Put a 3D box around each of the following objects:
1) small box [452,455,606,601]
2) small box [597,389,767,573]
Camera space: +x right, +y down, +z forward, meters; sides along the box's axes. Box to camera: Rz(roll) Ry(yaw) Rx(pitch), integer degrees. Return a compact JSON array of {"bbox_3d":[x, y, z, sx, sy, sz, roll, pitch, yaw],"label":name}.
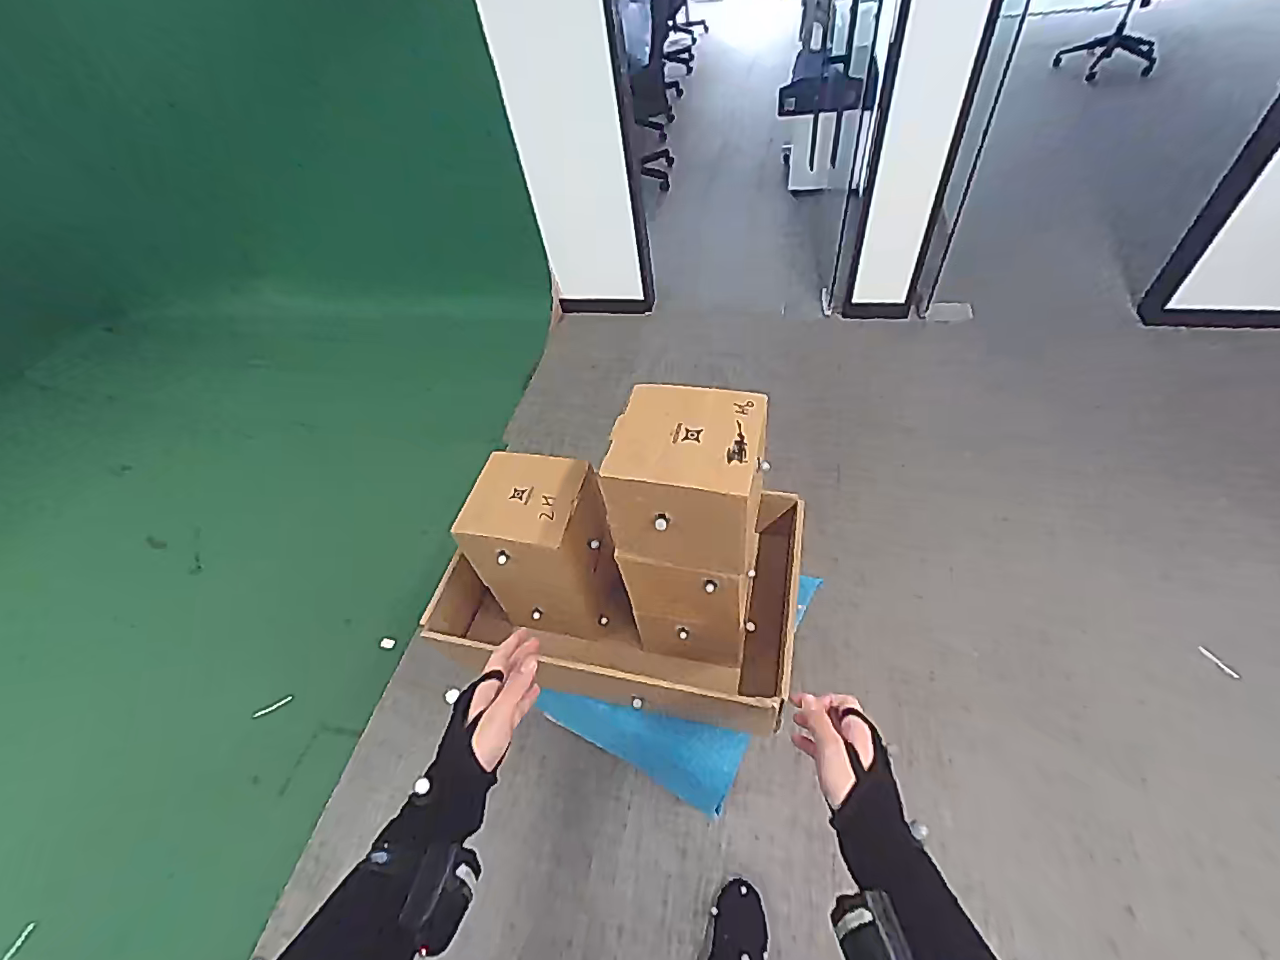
[{"bbox_3d":[-0.169,0.081,0.886,0.179,0.176,0.168,7,52,13],"label":"small box"},{"bbox_3d":[0.065,0.002,0.703,0.179,0.176,0.168,7,52,16],"label":"small box"}]
